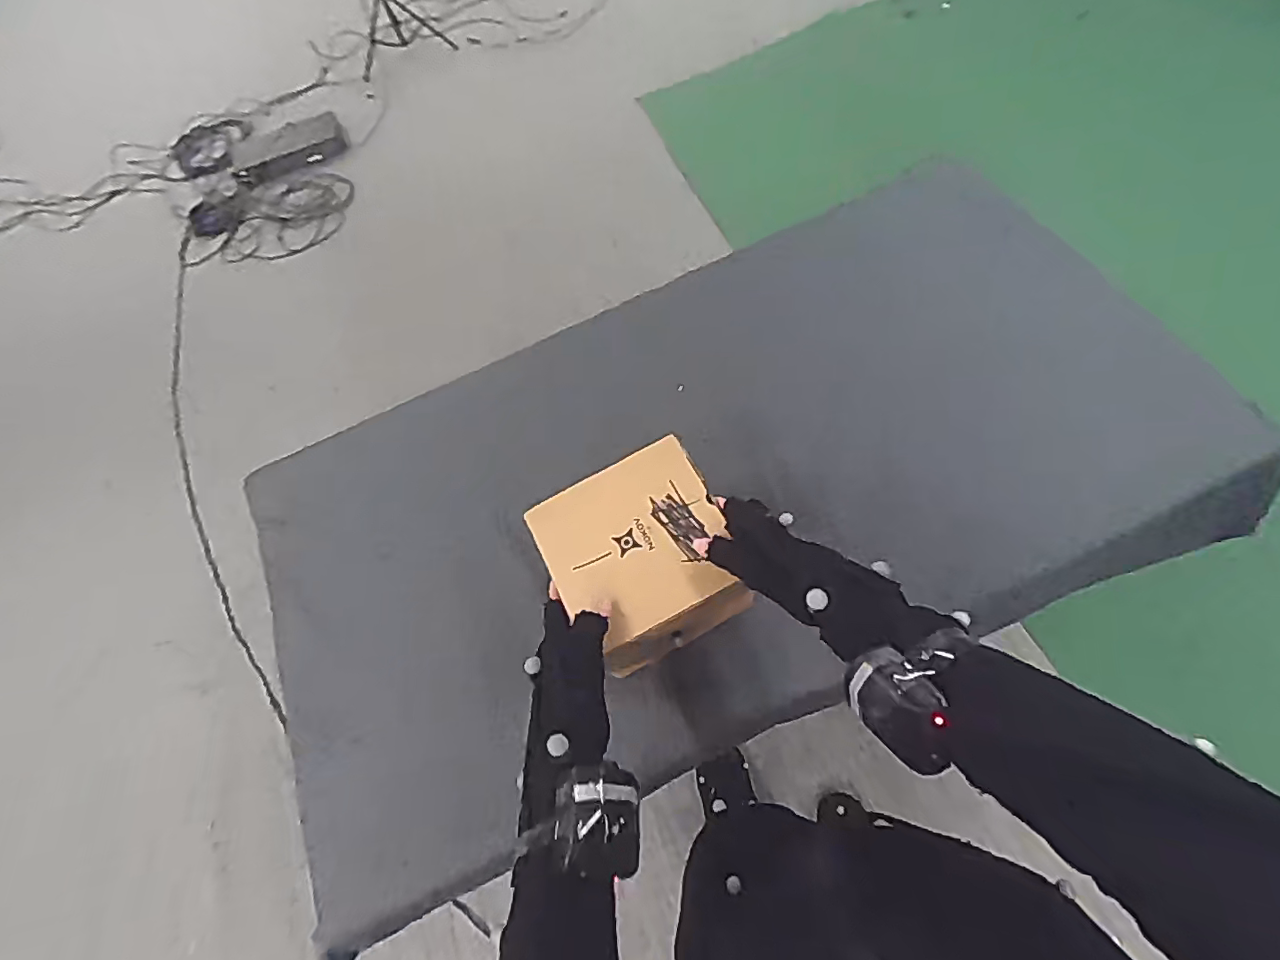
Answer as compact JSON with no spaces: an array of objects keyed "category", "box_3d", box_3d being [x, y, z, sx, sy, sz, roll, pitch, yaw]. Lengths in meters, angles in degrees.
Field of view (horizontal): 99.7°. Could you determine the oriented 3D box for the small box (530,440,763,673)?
[{"category":"small box","box_3d":[0.009,0.092,0.592,0.179,0.176,0.168,-29,66,-7]}]
